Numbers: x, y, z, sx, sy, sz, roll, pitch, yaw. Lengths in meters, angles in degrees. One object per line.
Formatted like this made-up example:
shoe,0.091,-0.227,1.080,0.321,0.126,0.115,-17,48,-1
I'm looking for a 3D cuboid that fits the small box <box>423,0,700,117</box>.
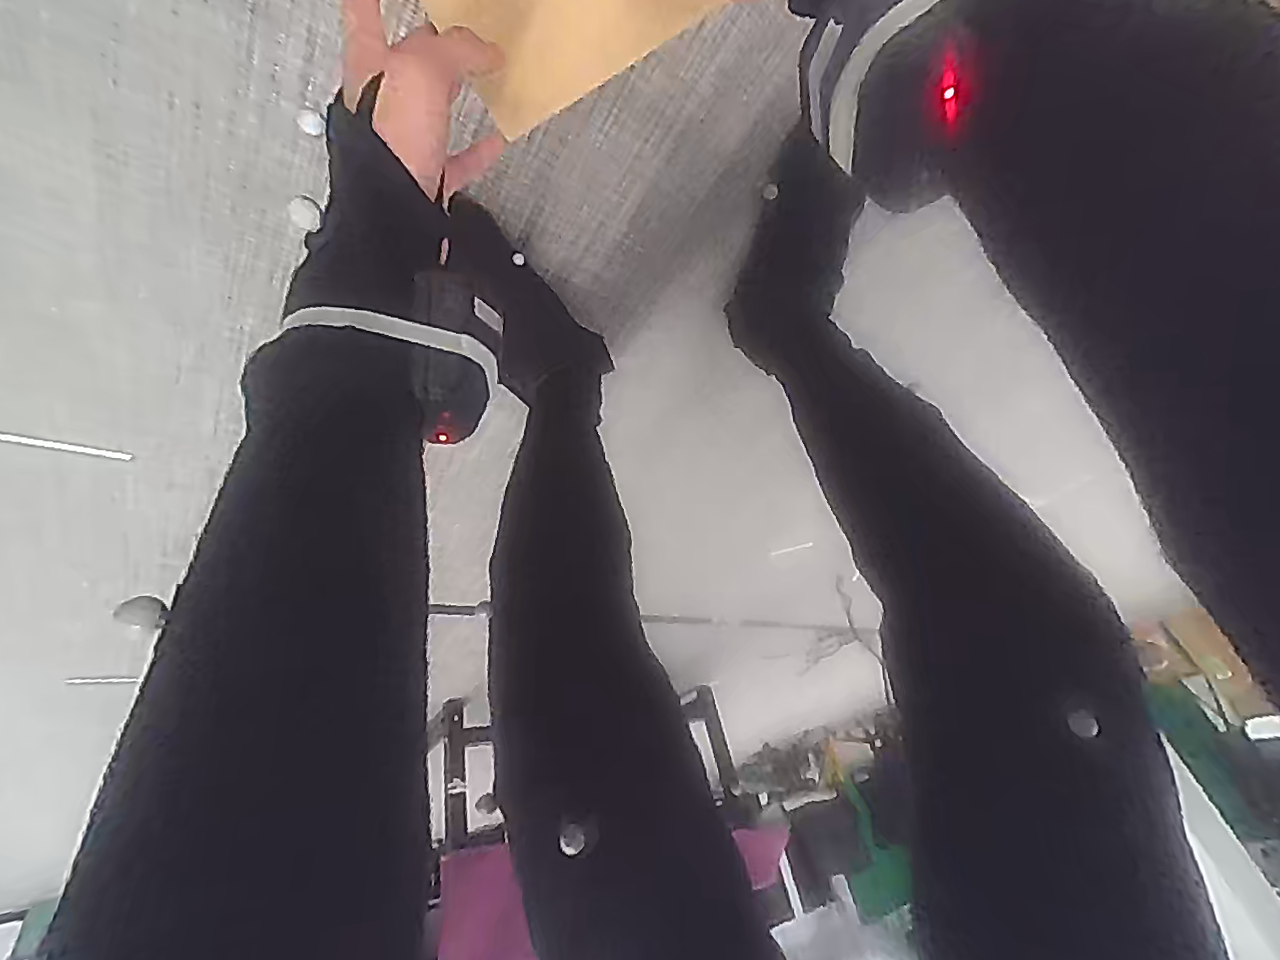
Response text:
small box,-0.068,-0.365,0.305,0.168,0.176,0.179,-23,146,13
